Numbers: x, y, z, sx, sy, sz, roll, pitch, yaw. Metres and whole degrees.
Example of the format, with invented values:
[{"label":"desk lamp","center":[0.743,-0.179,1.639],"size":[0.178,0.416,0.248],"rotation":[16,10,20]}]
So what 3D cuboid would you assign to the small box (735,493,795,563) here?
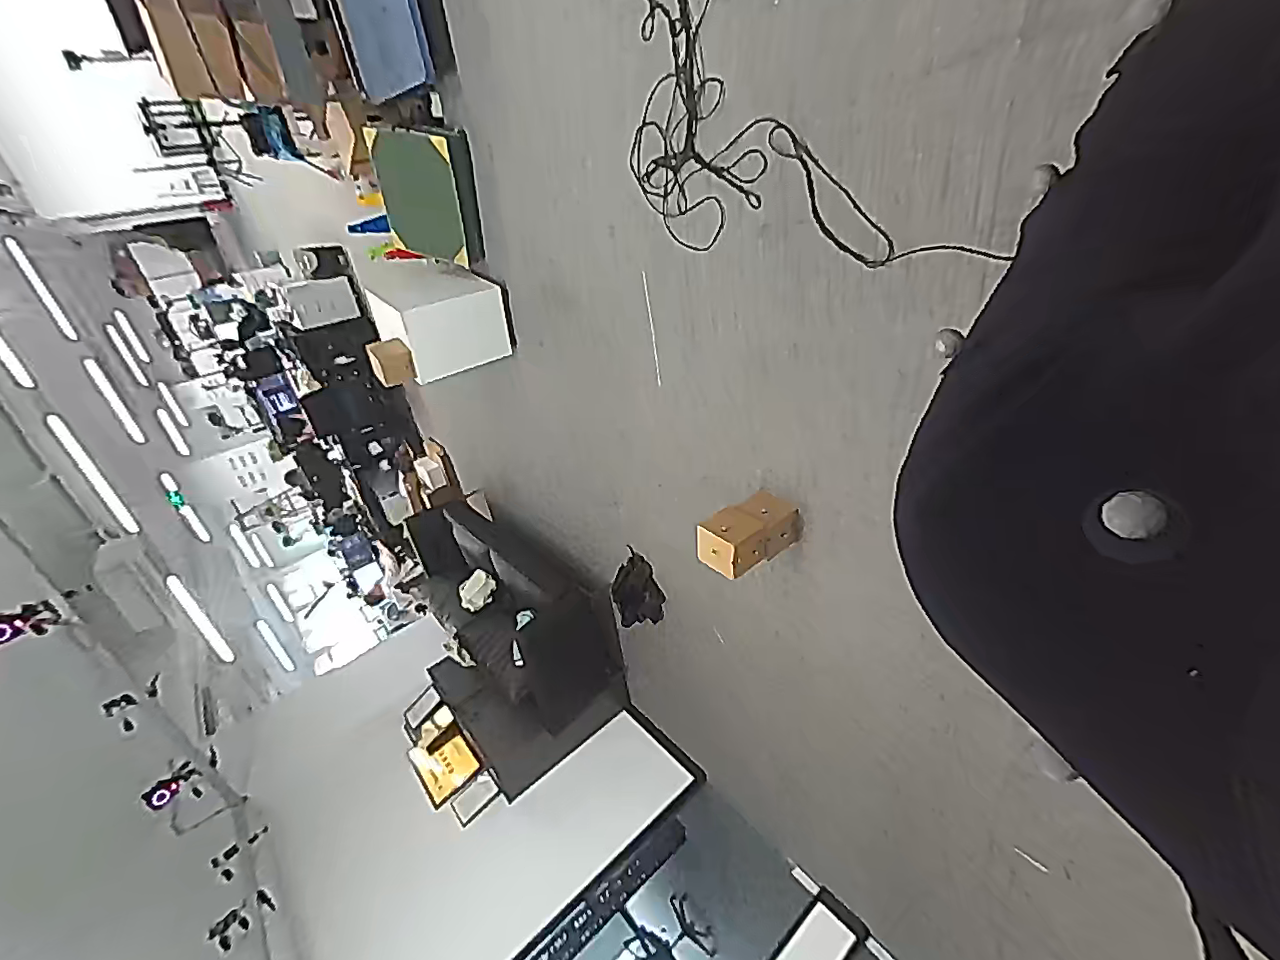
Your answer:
[{"label":"small box","center":[0.460,0.172,2.024],"size":[0.179,0.176,0.168],"rotation":[28,136,42]}]

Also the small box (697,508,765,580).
[{"label":"small box","center":[0.326,0.223,1.944],"size":[0.179,0.176,0.168],"rotation":[29,136,42]}]
